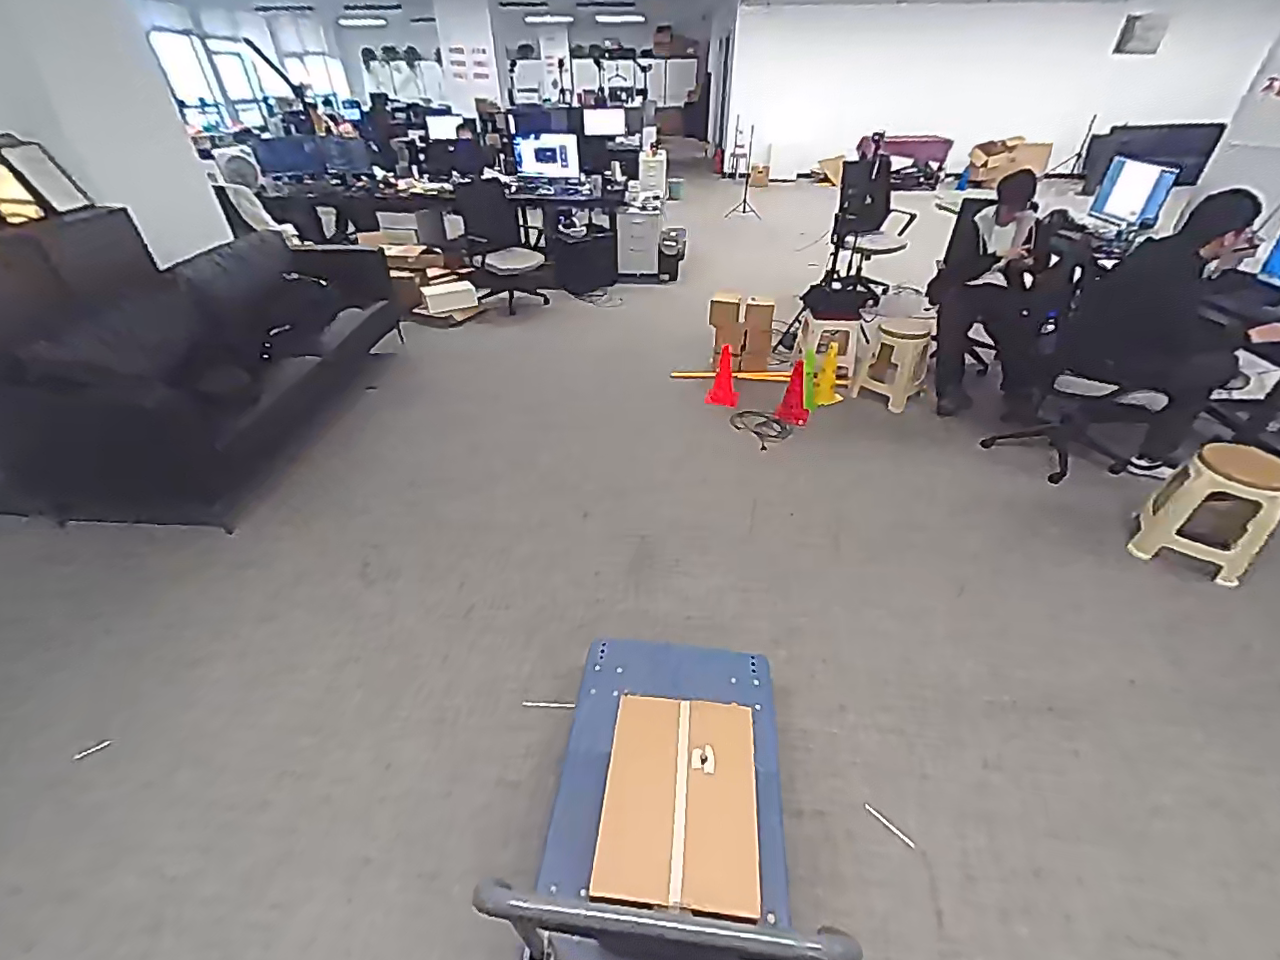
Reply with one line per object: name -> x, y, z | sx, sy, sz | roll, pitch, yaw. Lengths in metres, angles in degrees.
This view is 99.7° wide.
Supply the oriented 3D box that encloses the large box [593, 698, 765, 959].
large box -> 0.088, 0.763, 1.198 | 0.320, 0.320, 0.408 | 4, 36, 5
